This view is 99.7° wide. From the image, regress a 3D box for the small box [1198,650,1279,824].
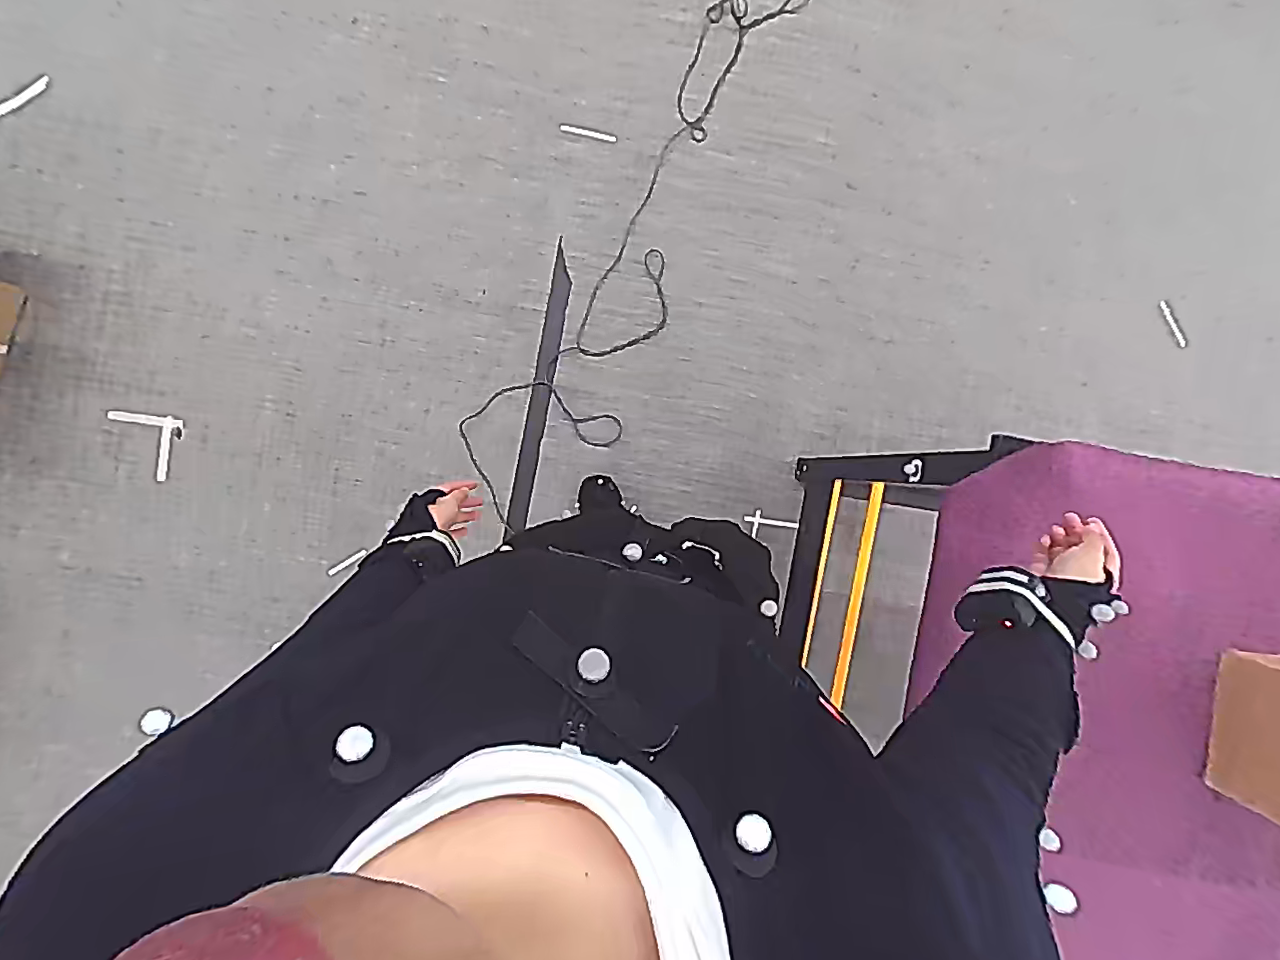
[{"bbox_3d":[0.811,0.317,0.623,0.168,0.176,0.179,7,91,-4],"label":"small box"}]
